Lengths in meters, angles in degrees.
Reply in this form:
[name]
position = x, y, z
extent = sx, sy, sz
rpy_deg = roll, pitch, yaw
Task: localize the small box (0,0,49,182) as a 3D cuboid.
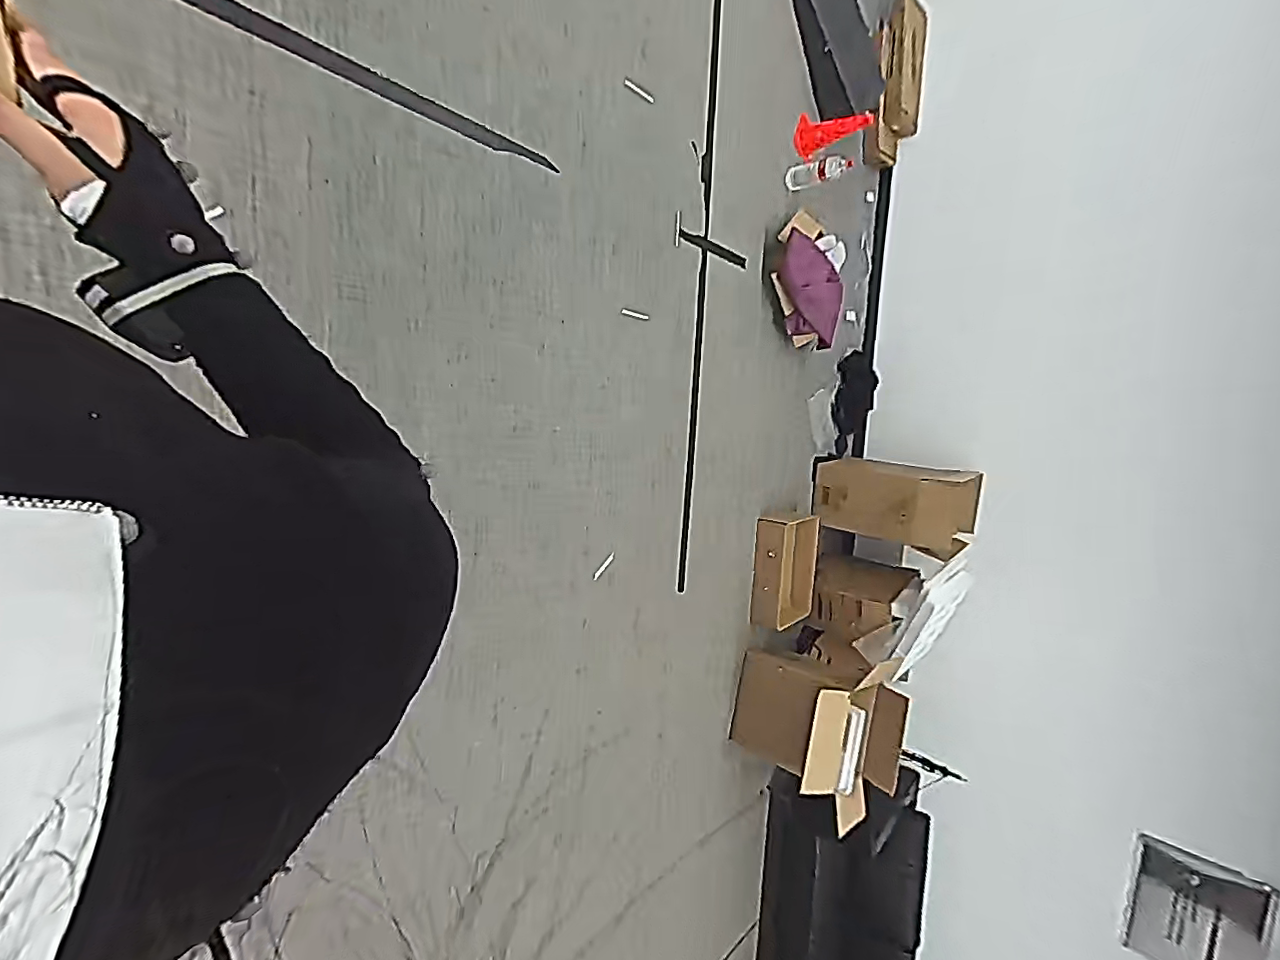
[small box]
position = -0.497, -0.287, 0.319
extent = 0.179, 0.176, 0.168
rpy_deg = -12, 114, -46
